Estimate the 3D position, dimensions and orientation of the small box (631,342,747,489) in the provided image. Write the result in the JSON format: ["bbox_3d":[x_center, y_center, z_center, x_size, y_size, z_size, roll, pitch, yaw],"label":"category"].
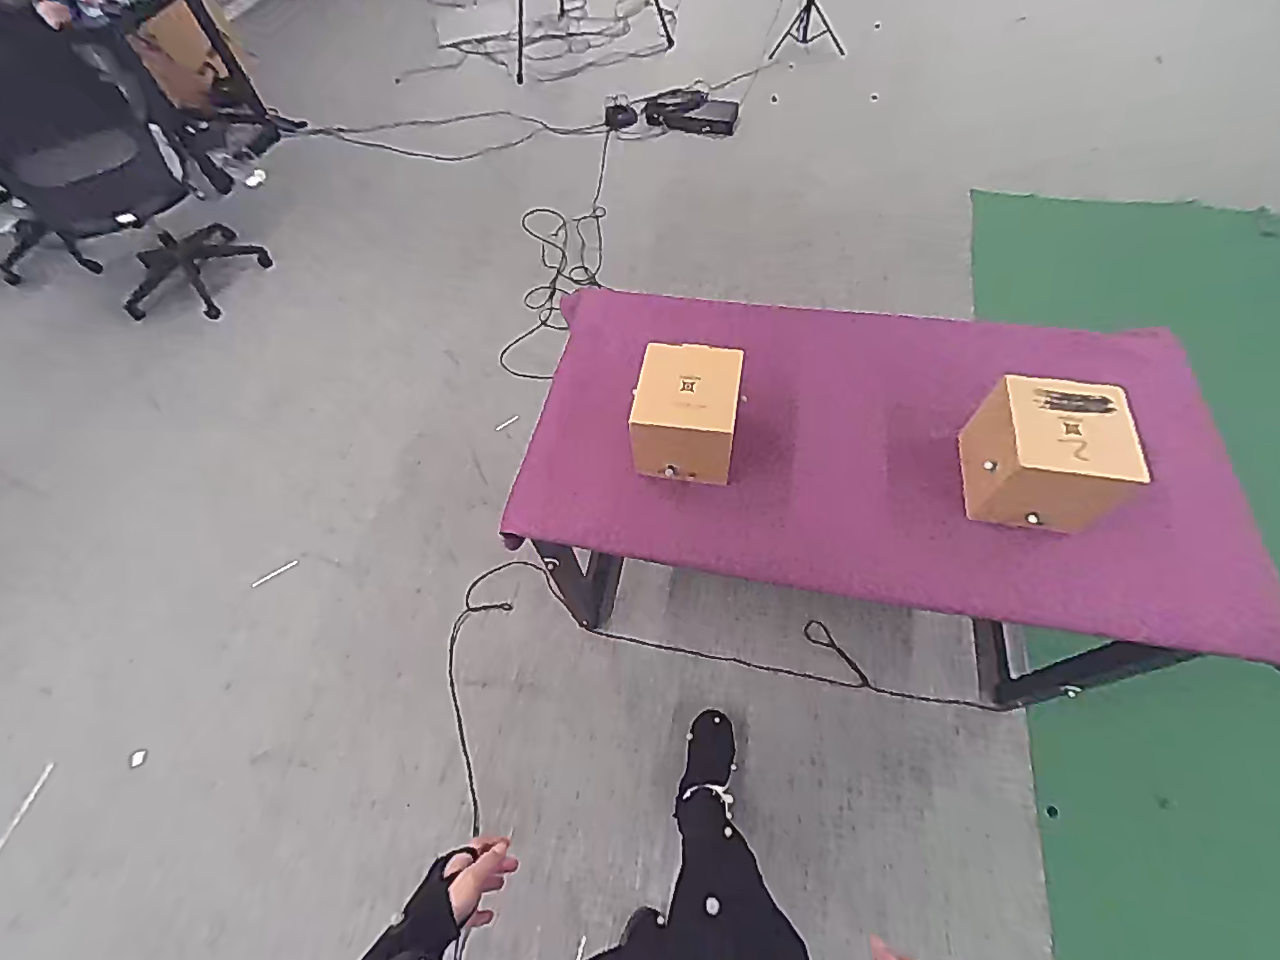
[{"bbox_3d":[0.085,-0.109,0.934,0.168,0.176,0.179,8,60,9],"label":"small box"}]
